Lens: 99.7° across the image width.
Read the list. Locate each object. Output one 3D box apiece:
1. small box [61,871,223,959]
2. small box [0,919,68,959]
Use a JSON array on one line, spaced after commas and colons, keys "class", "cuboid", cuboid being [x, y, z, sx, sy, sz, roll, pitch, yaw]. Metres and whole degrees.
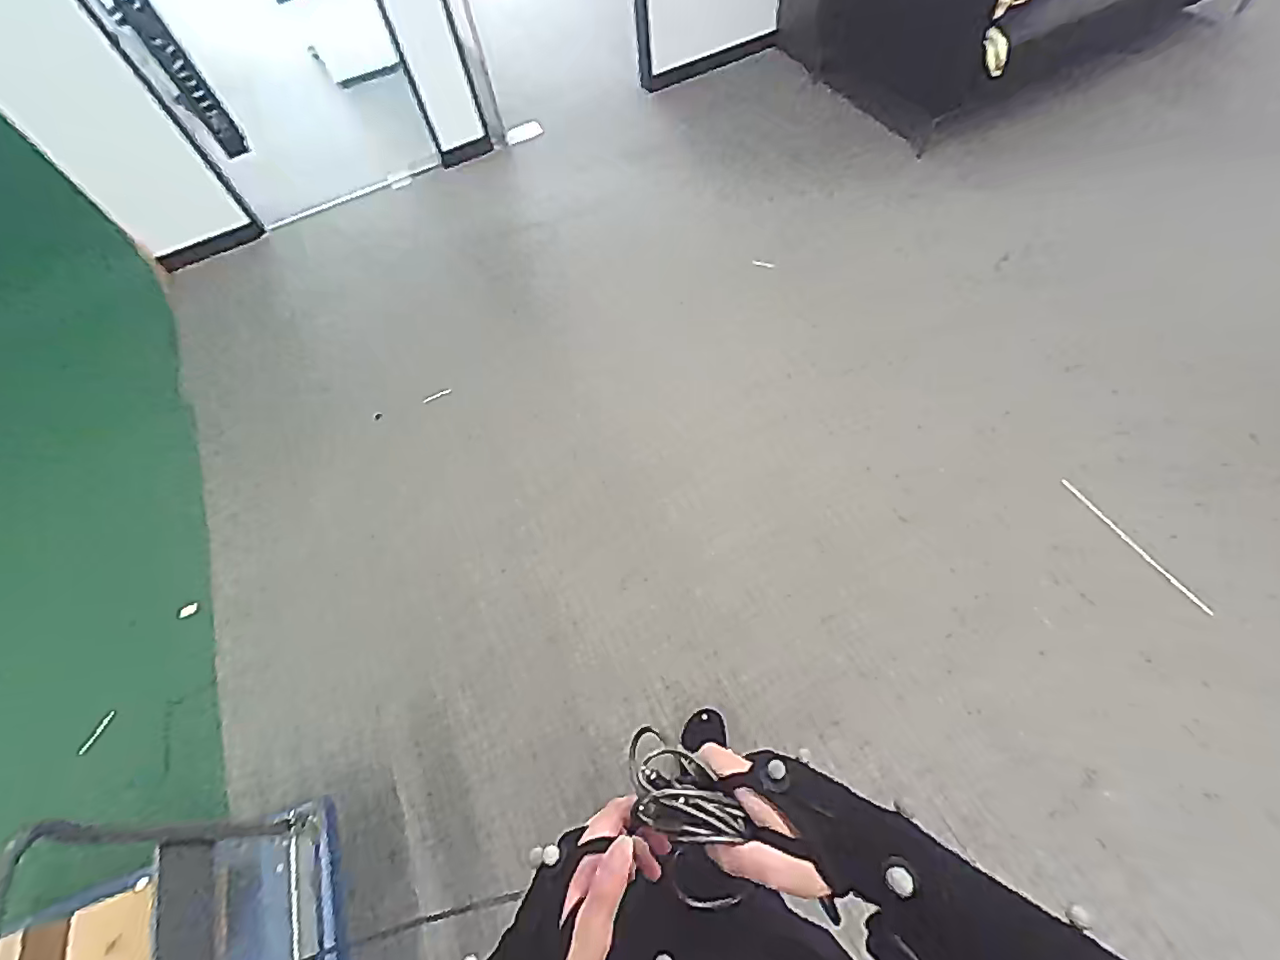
[{"class": "small box", "cuboid": [-0.979, 0.906, 1.070, 0.179, 0.176, 0.168, -18, 60, -6]}, {"class": "small box", "cuboid": [-1.222, 0.986, 1.044, 0.179, 0.176, 0.168, -21, 61, -8]}]
